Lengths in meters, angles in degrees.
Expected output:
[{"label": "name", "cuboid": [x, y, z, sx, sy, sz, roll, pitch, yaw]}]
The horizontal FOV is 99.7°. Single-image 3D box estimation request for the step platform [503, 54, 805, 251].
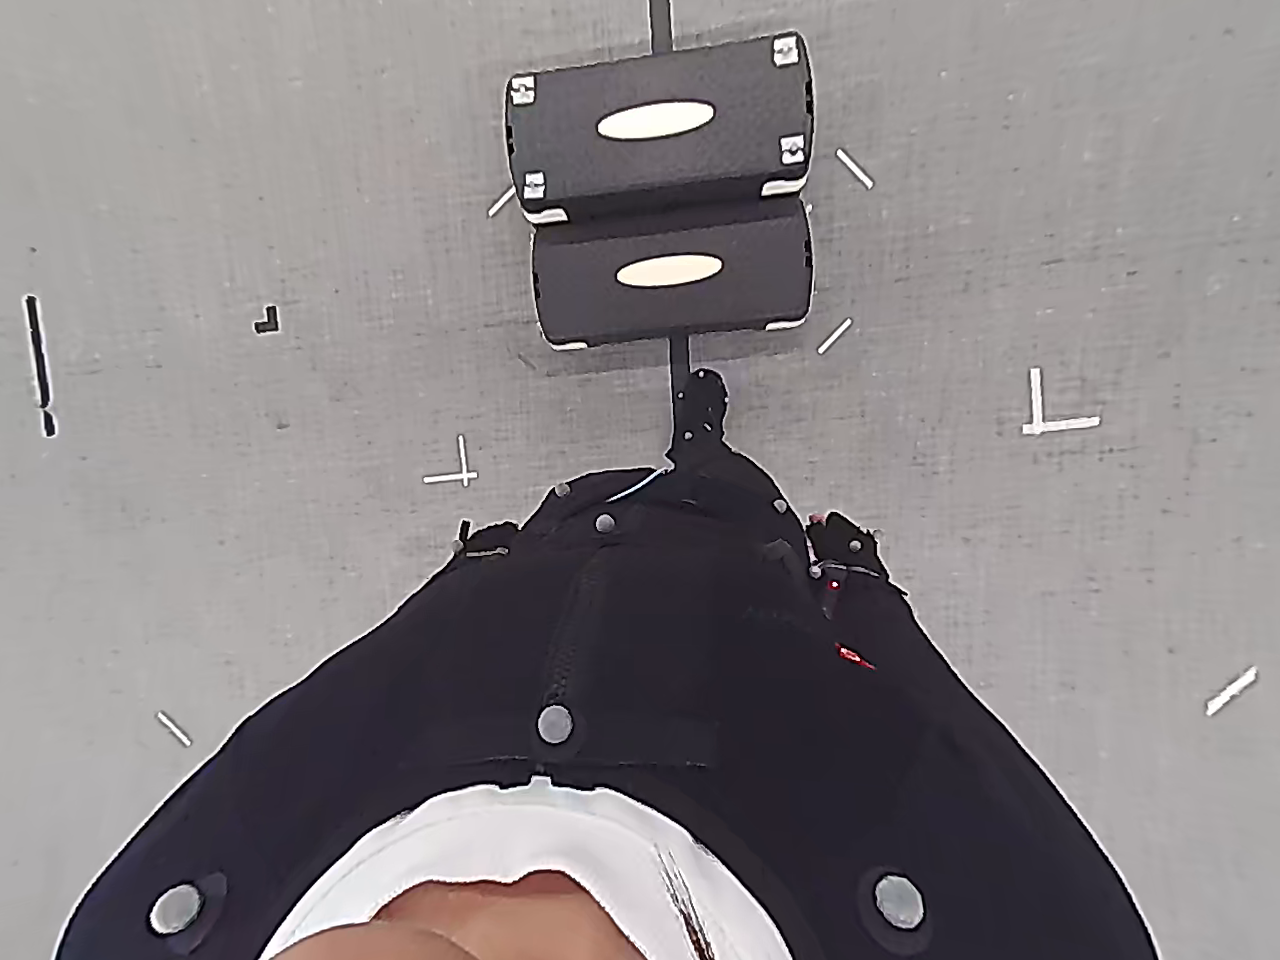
[{"label": "step platform", "cuboid": [0.030, -0.748, 1.263, 0.684, 0.204, 0.286, -5, 96, 5]}]
